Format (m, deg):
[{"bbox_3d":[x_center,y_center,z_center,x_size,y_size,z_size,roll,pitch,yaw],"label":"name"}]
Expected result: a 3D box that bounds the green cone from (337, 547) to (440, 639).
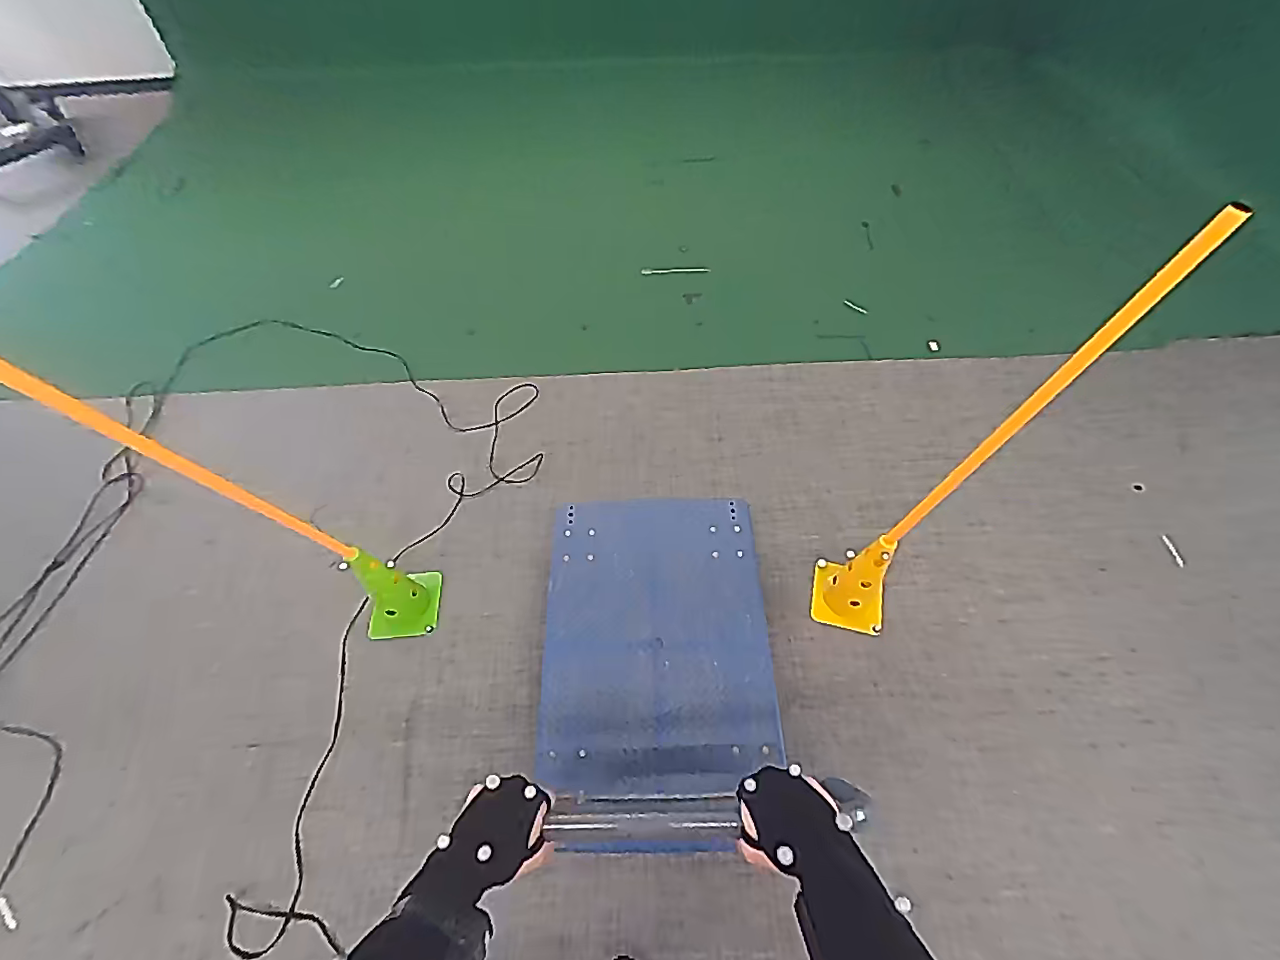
[{"bbox_3d":[-0.725,0.280,1.502,0.202,0.368,0.200,-7,55,0],"label":"green cone"}]
